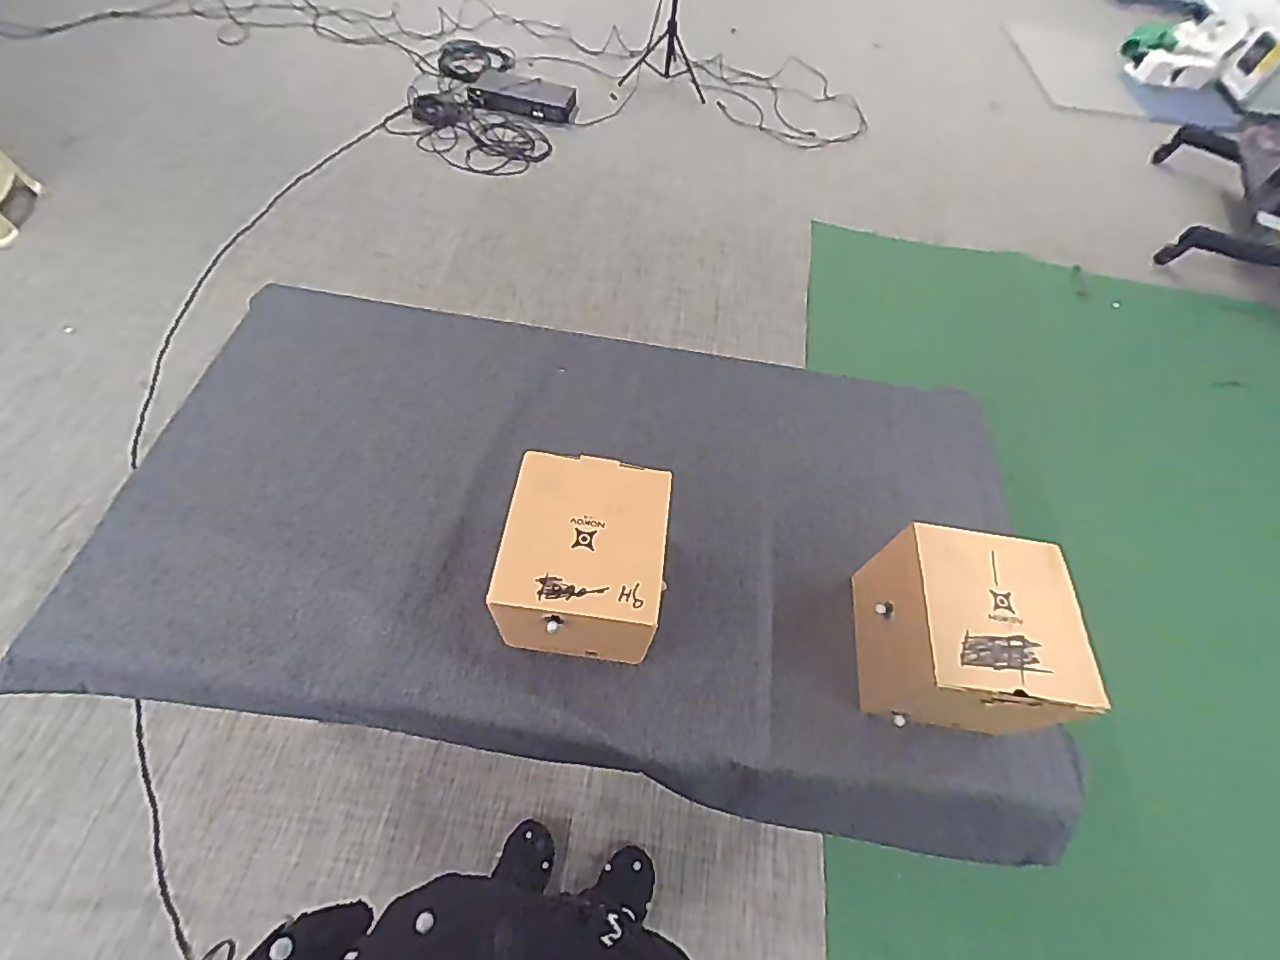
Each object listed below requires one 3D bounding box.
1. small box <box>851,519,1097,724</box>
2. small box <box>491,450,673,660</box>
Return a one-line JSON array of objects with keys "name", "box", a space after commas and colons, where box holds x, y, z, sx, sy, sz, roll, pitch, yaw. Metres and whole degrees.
[{"name": "small box", "box": [0.359, 0.170, 0.623, 0.168, 0.176, 0.179, 9, 58, 0]}, {"name": "small box", "box": [-0.061, 0.092, 0.628, 0.168, 0.176, 0.179, 8, 59, -1]}]
